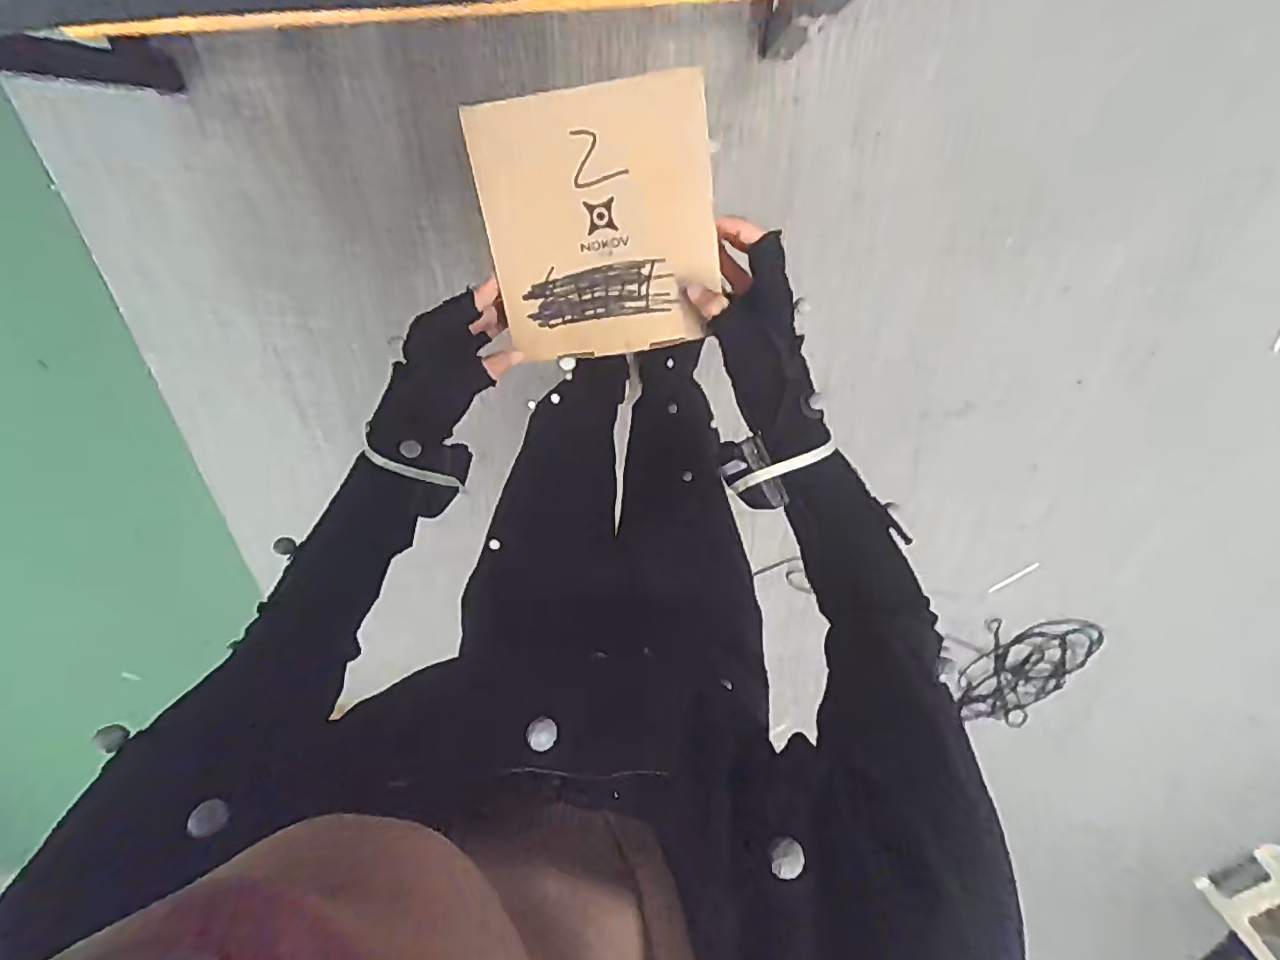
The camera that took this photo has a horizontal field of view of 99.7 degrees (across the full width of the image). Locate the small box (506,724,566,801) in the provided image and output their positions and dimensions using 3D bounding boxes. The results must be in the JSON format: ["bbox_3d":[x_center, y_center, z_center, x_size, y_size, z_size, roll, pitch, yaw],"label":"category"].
[{"bbox_3d":[-0.358,0.987,1.891,0.168,0.176,0.179,2,120,3],"label":"small box"}]
